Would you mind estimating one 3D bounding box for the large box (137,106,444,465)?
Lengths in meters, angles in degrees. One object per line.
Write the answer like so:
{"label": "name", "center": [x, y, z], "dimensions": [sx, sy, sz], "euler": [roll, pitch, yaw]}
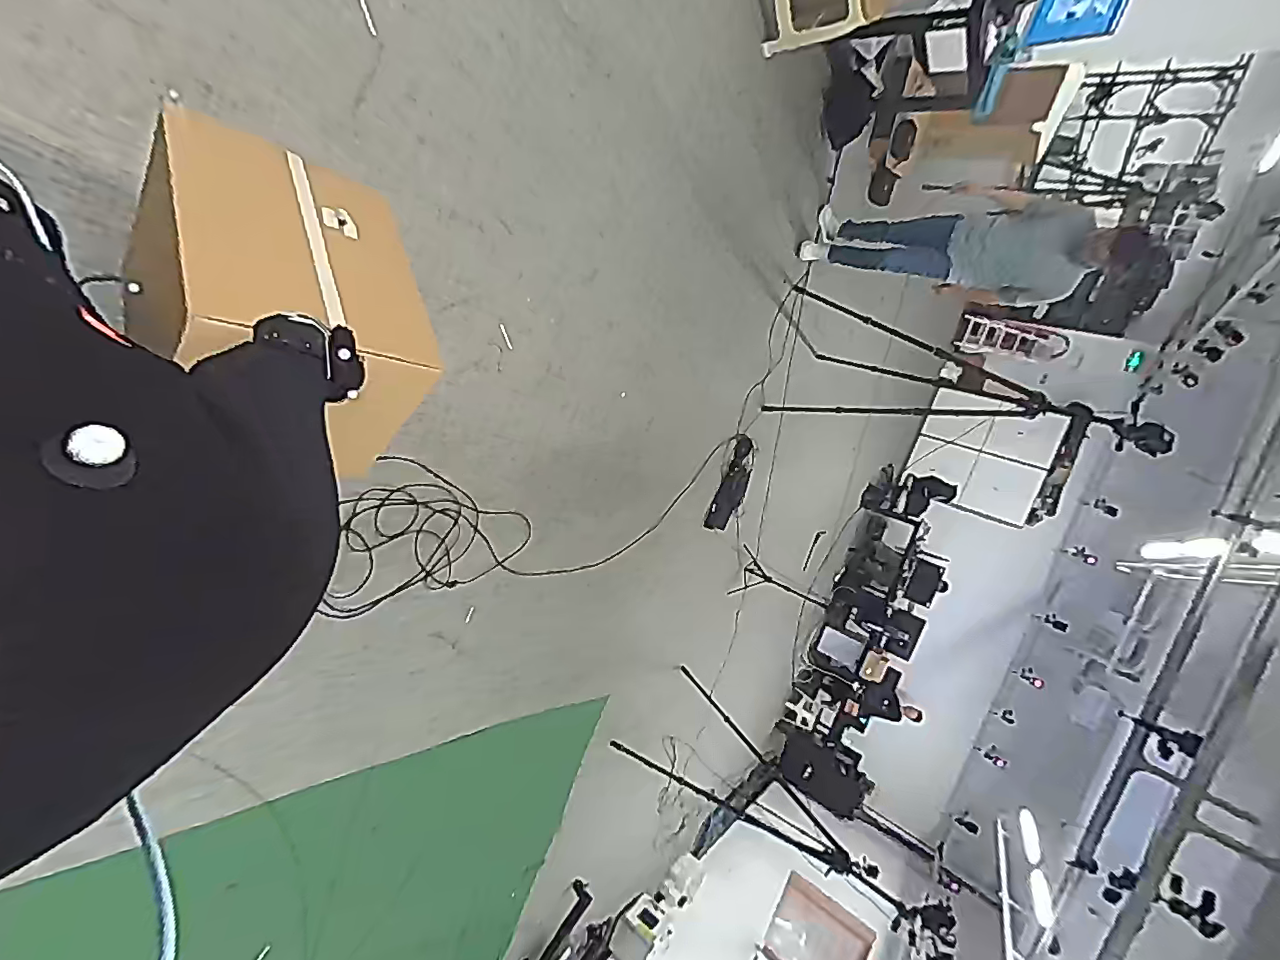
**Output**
{"label": "large box", "center": [-0.577, -0.270, 0.876], "dimensions": [0.320, 0.408, 0.320], "euler": [-38, 156, 32]}
